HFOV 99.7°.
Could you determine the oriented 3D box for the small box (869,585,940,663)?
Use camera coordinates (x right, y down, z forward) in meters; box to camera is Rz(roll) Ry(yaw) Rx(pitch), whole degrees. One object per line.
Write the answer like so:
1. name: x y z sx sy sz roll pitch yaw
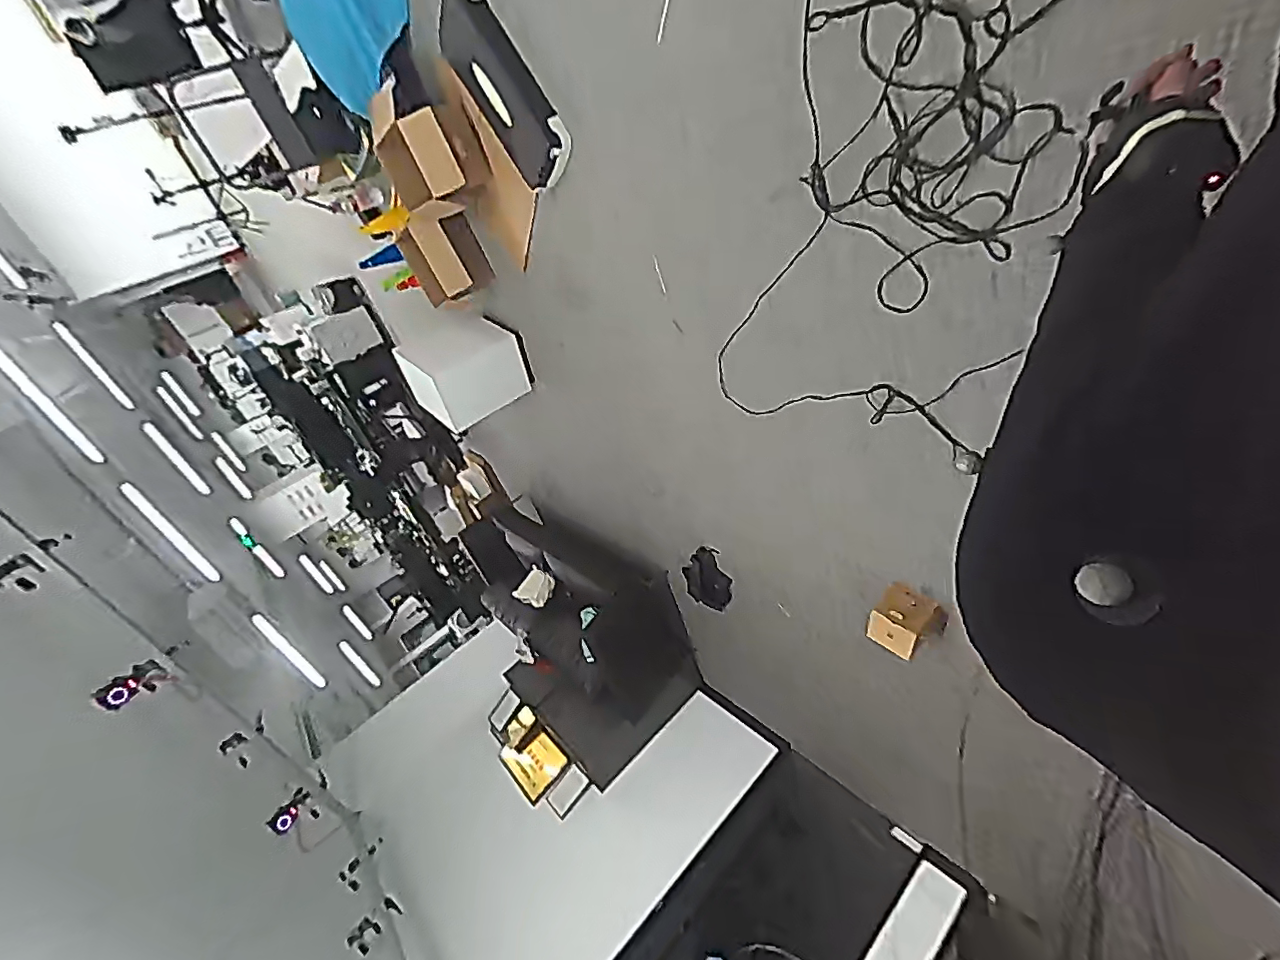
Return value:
1. small box: 0.967 0.523 1.975 0.168 0.176 0.179 31 146 39
